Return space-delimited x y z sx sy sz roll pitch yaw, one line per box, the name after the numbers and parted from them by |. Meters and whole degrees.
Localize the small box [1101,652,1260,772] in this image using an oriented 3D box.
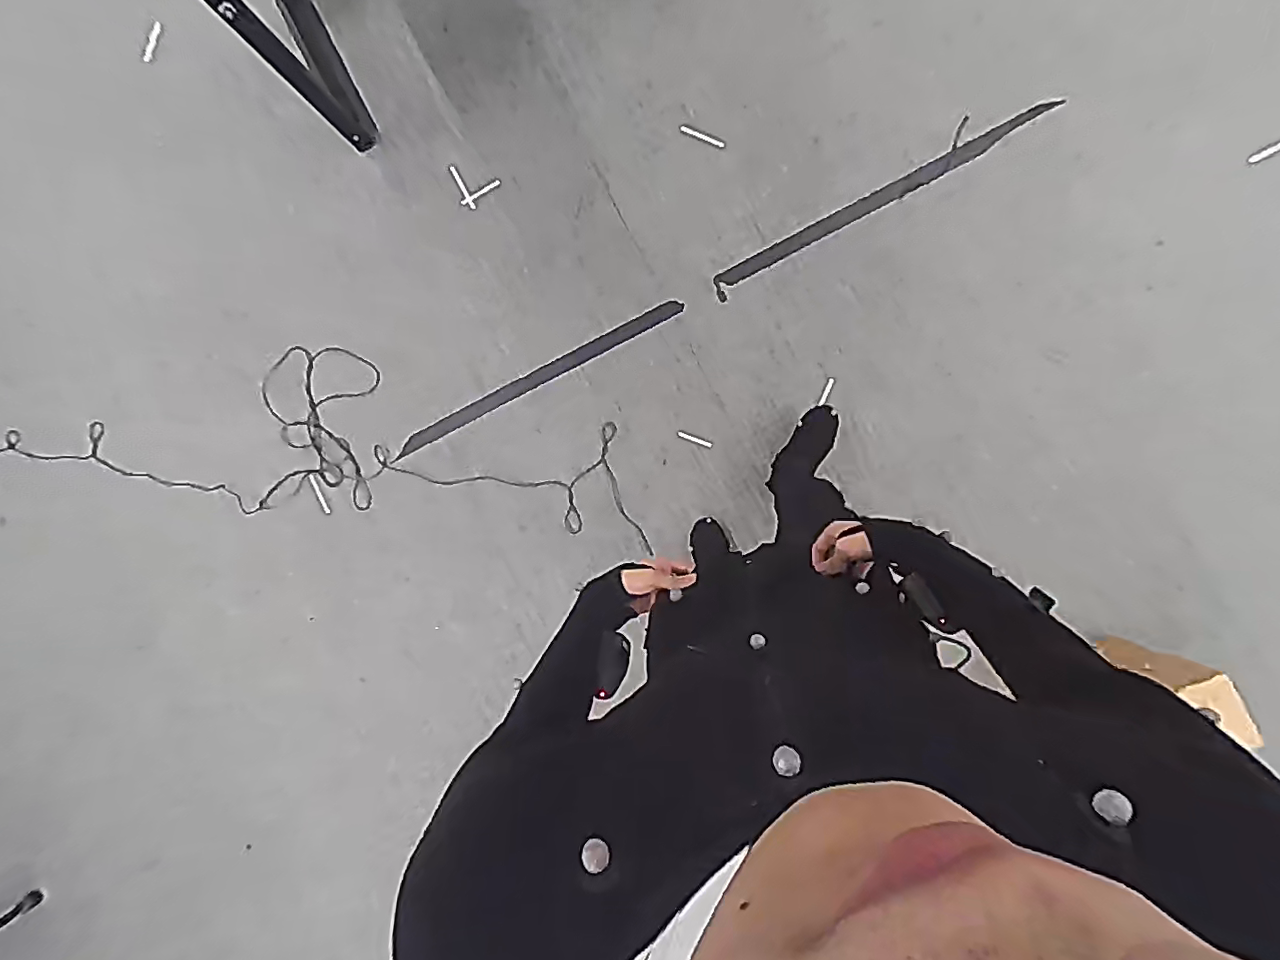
1.255 0.535 1.270 0.168 0.176 0.179 -25 87 4 | small box

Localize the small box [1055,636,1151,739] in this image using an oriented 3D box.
1.264 0.543 1.434 0.168 0.176 0.179 -25 88 4 | small box
